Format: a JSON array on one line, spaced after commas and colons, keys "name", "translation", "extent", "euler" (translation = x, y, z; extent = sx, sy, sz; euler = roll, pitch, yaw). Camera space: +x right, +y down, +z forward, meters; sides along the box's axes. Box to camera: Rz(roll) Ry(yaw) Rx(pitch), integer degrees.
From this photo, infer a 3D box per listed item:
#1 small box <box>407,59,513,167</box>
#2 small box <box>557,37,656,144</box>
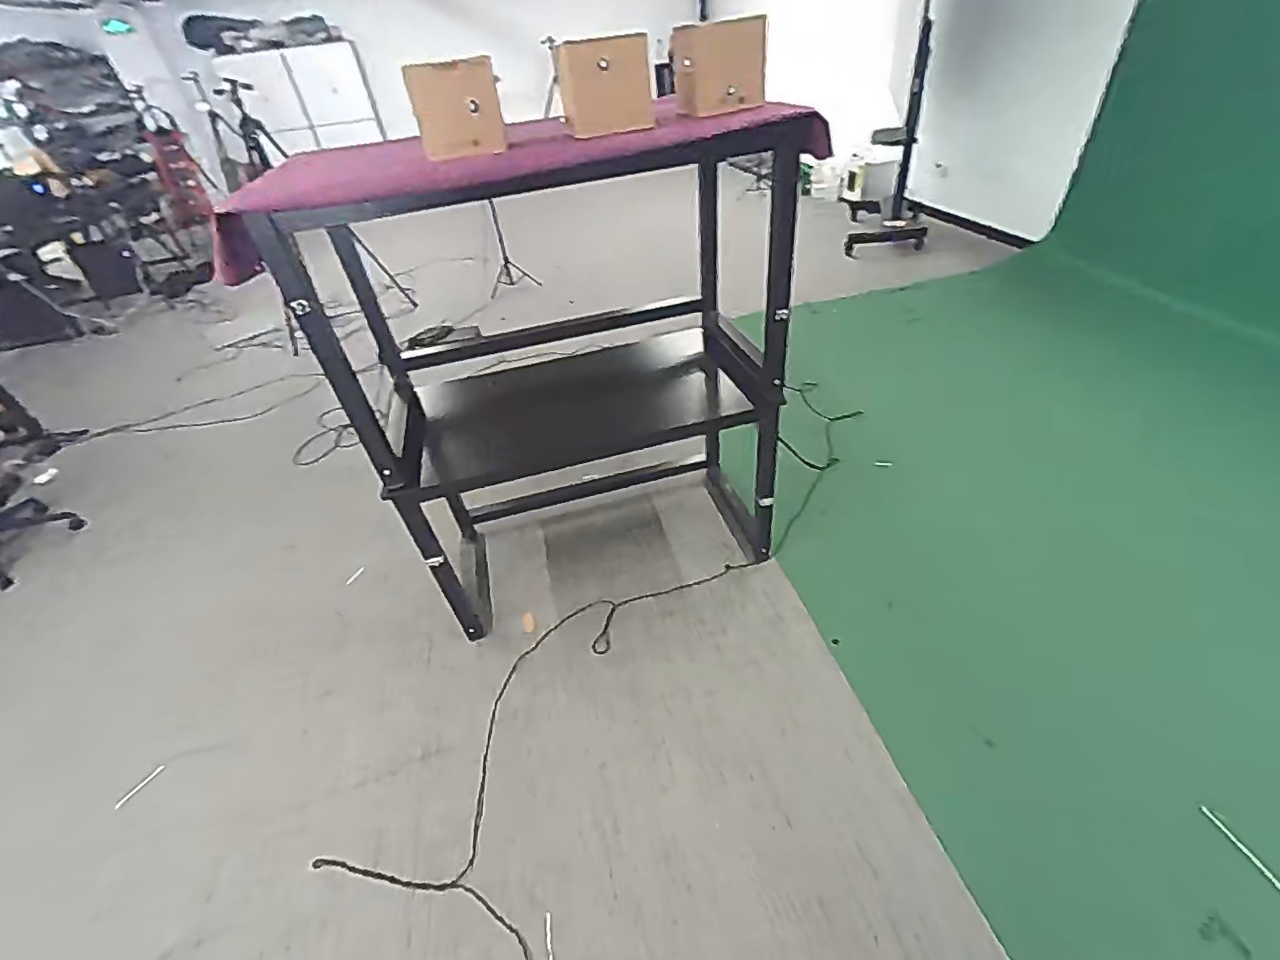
[{"name": "small box", "translation": [-0.374, -0.783, 1.159], "extent": [0.168, 0.176, 0.179], "euler": [-9, 39, -3]}, {"name": "small box", "translation": [-0.072, -0.857, 1.196], "extent": [0.179, 0.176, 0.168], "euler": [-14, 39, -8]}]
